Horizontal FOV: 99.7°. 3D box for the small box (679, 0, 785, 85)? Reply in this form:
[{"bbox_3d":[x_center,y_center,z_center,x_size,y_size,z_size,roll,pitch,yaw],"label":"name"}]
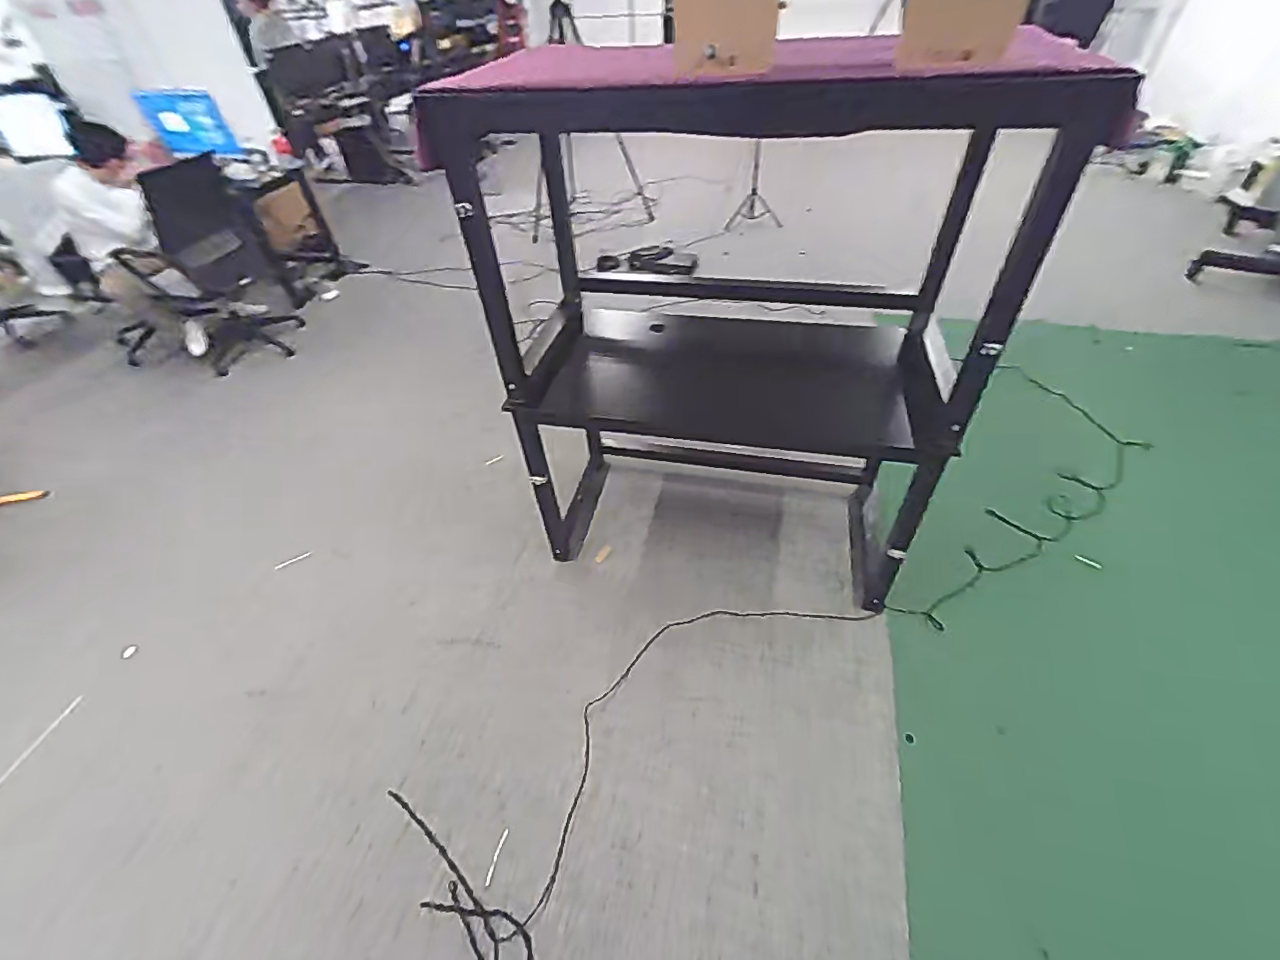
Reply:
[{"bbox_3d":[0.166,-0.827,0.972,0.168,0.176,0.179,8,45,15],"label":"small box"}]

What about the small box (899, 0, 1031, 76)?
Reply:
[{"bbox_3d":[0.536,-0.785,0.894,0.168,0.176,0.179,9,45,16],"label":"small box"}]
